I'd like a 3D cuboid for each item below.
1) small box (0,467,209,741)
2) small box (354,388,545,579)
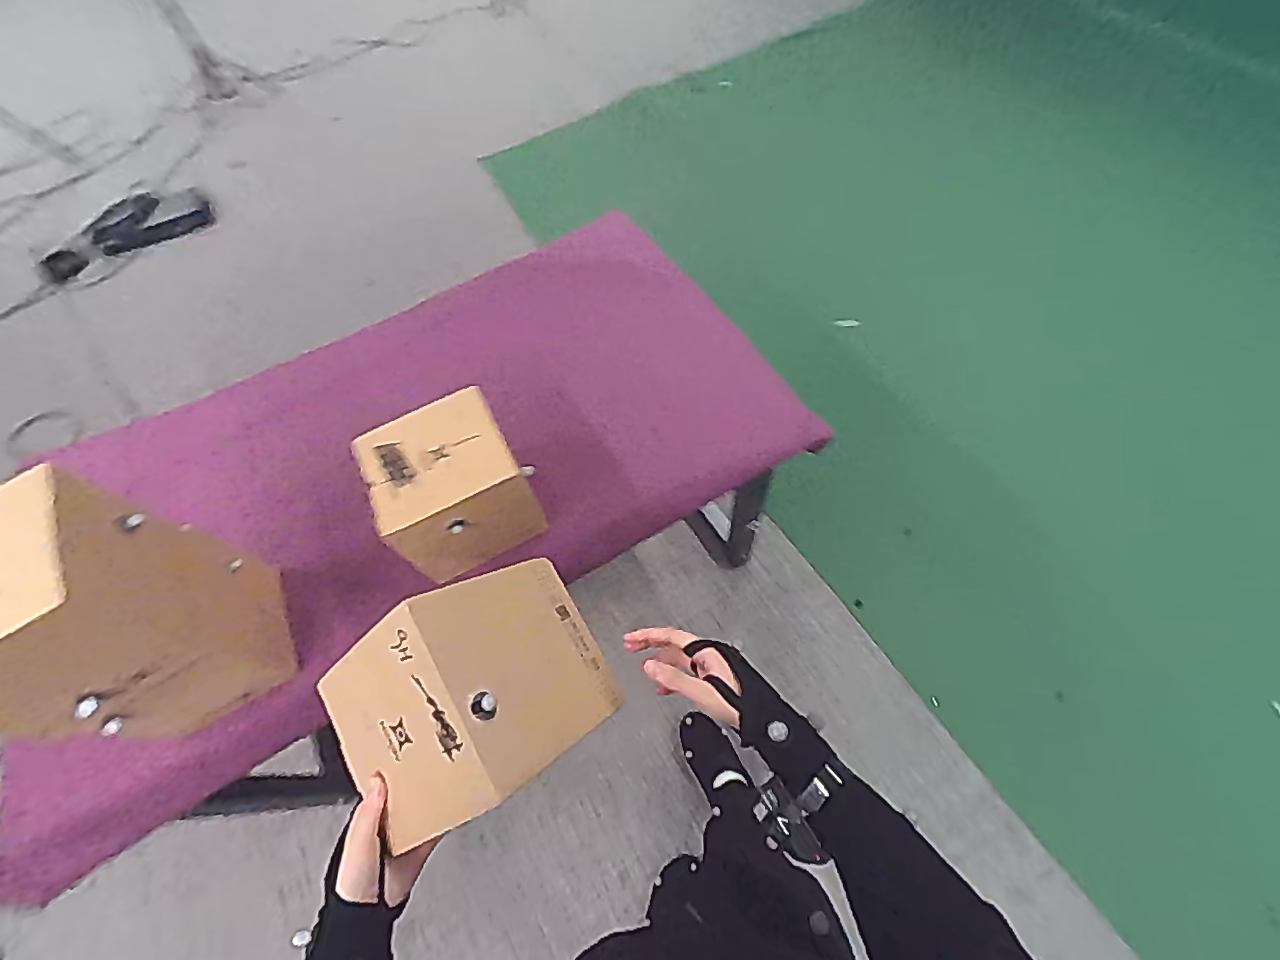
[{"bbox_3d":[-0.575,0.127,0.527,0.168,0.176,0.179,-33,63,-13],"label":"small box"},{"bbox_3d":[-0.255,0.012,0.750,0.179,0.176,0.168,-27,62,-10],"label":"small box"}]
